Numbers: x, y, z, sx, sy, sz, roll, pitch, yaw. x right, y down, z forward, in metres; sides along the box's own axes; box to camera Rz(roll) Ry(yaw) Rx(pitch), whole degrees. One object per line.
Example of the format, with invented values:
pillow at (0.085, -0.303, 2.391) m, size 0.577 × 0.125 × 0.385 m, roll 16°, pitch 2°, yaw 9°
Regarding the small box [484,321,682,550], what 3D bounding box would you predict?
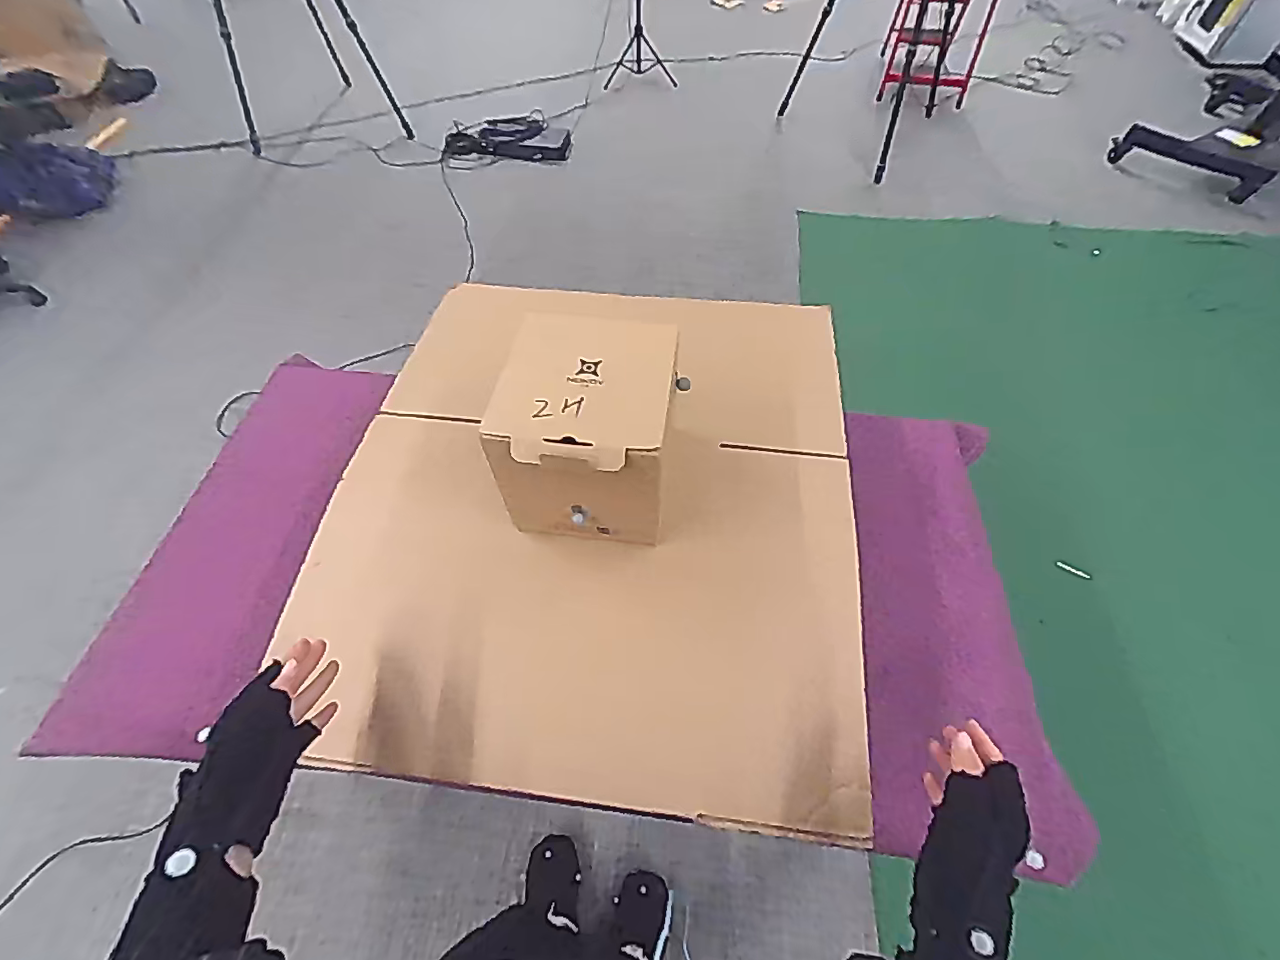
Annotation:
small box at (-0.048, -0.046, 0.590) m, size 0.168 × 0.176 × 0.179 m, roll 6°, pitch 56°, yaw 6°
